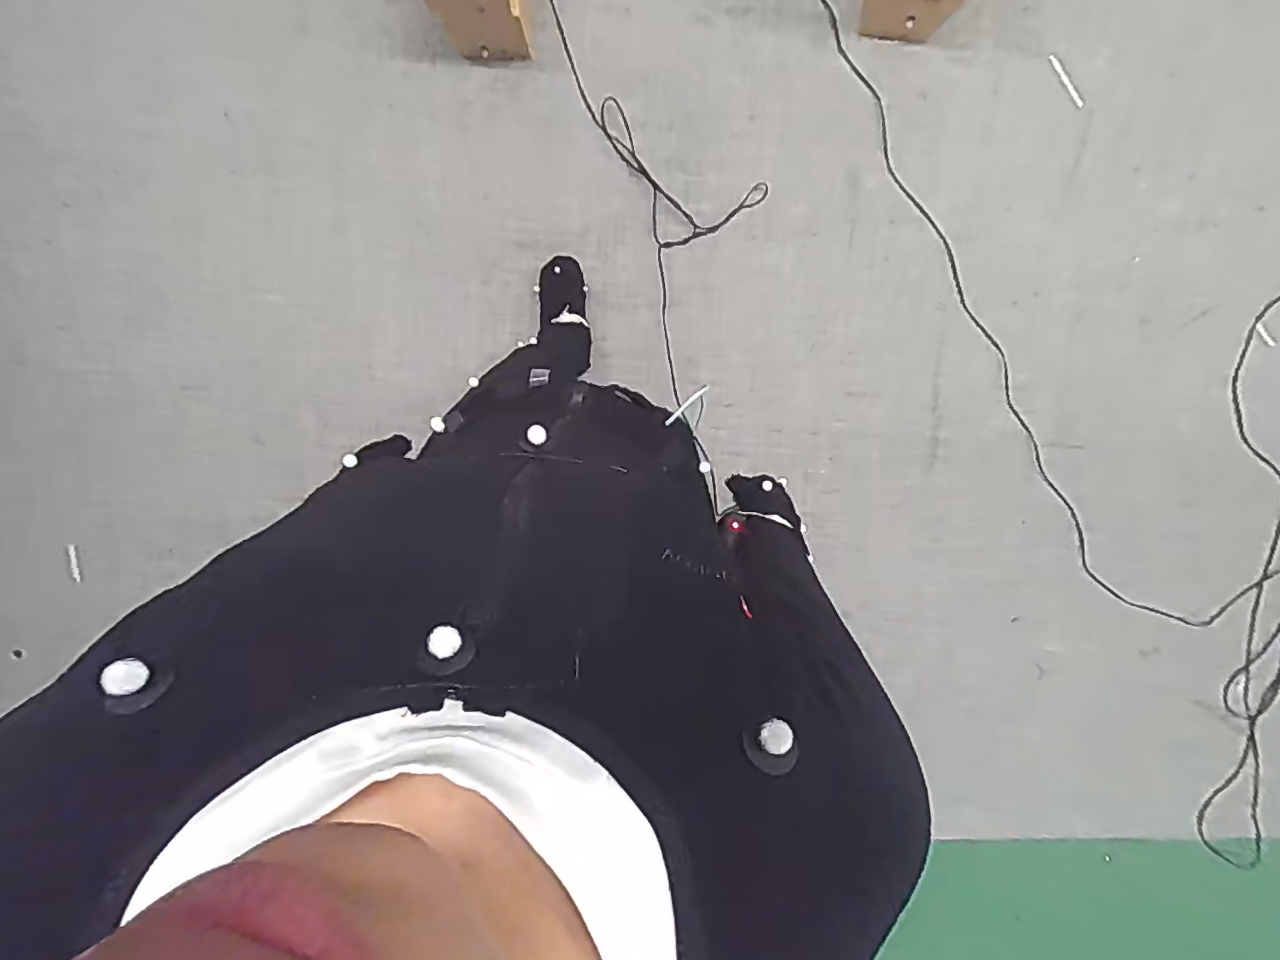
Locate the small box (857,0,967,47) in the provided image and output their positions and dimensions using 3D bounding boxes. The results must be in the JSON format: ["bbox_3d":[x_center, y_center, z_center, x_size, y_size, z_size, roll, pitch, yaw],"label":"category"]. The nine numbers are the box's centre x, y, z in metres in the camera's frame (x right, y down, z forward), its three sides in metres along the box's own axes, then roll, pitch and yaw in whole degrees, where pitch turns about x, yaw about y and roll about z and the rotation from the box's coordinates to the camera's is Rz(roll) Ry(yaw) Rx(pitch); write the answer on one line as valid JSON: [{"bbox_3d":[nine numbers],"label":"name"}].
[{"bbox_3d":[0.590,-1.075,1.163,0.168,0.176,0.179,1,105,-6],"label":"small box"}]

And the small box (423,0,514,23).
[{"bbox_3d":[-0.326,-0.970,0.974,0.168,0.176,0.179,0,104,-3],"label":"small box"}]

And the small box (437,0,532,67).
[{"bbox_3d":[-0.322,-1.011,1.133,0.168,0.176,0.179,0,104,-2],"label":"small box"}]
